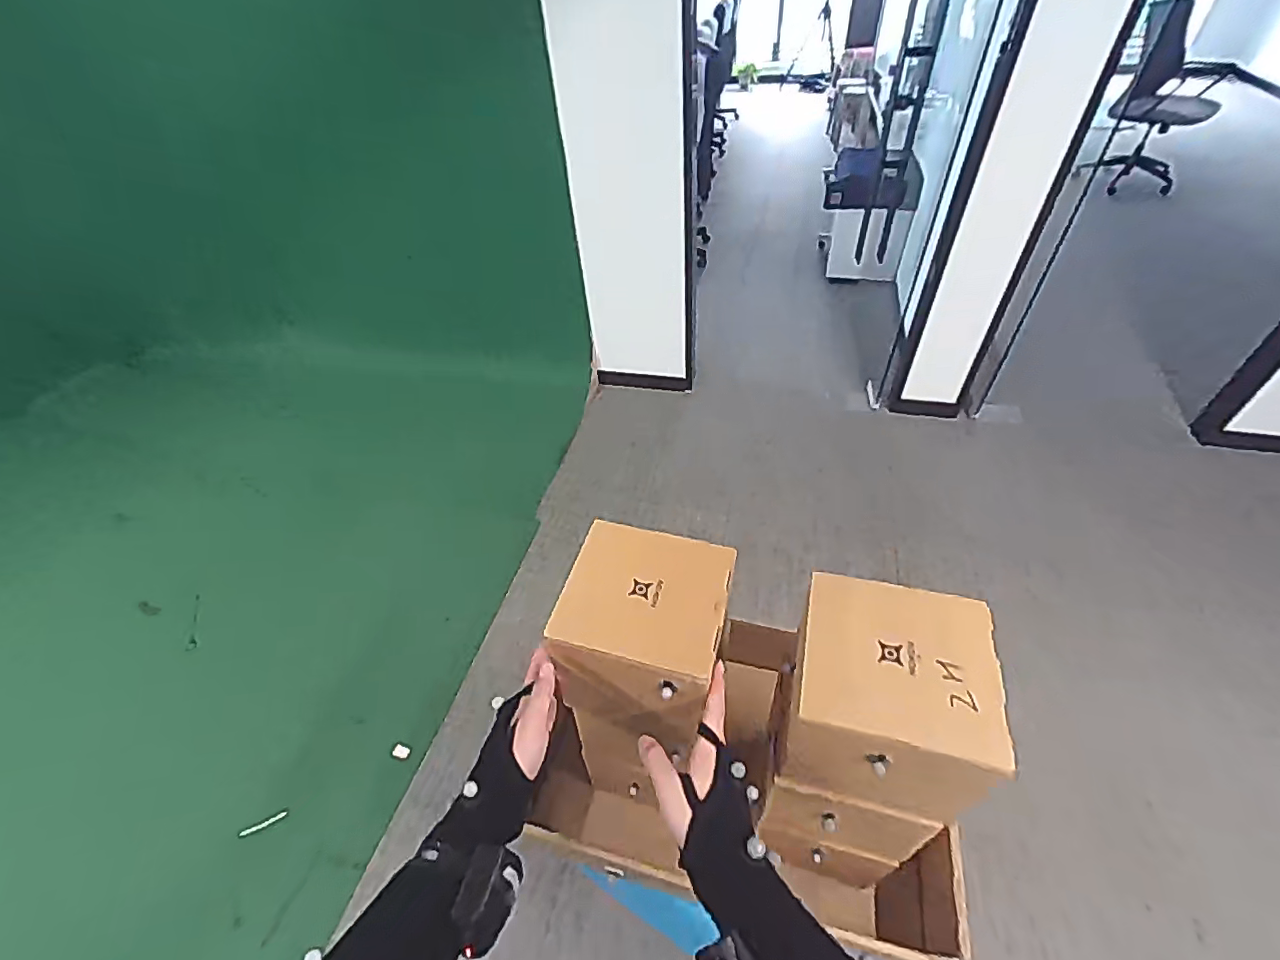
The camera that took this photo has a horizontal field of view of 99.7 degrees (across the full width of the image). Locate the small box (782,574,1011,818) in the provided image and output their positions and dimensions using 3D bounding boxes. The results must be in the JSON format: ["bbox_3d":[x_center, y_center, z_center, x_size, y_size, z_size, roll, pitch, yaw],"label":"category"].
[{"bbox_3d":[0.251,0.226,0.569,0.179,0.176,0.168,9,47,16],"label":"small box"}]

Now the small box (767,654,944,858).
[{"bbox_3d":[0.258,0.347,0.681,0.179,0.176,0.168,6,46,15],"label":"small box"}]
